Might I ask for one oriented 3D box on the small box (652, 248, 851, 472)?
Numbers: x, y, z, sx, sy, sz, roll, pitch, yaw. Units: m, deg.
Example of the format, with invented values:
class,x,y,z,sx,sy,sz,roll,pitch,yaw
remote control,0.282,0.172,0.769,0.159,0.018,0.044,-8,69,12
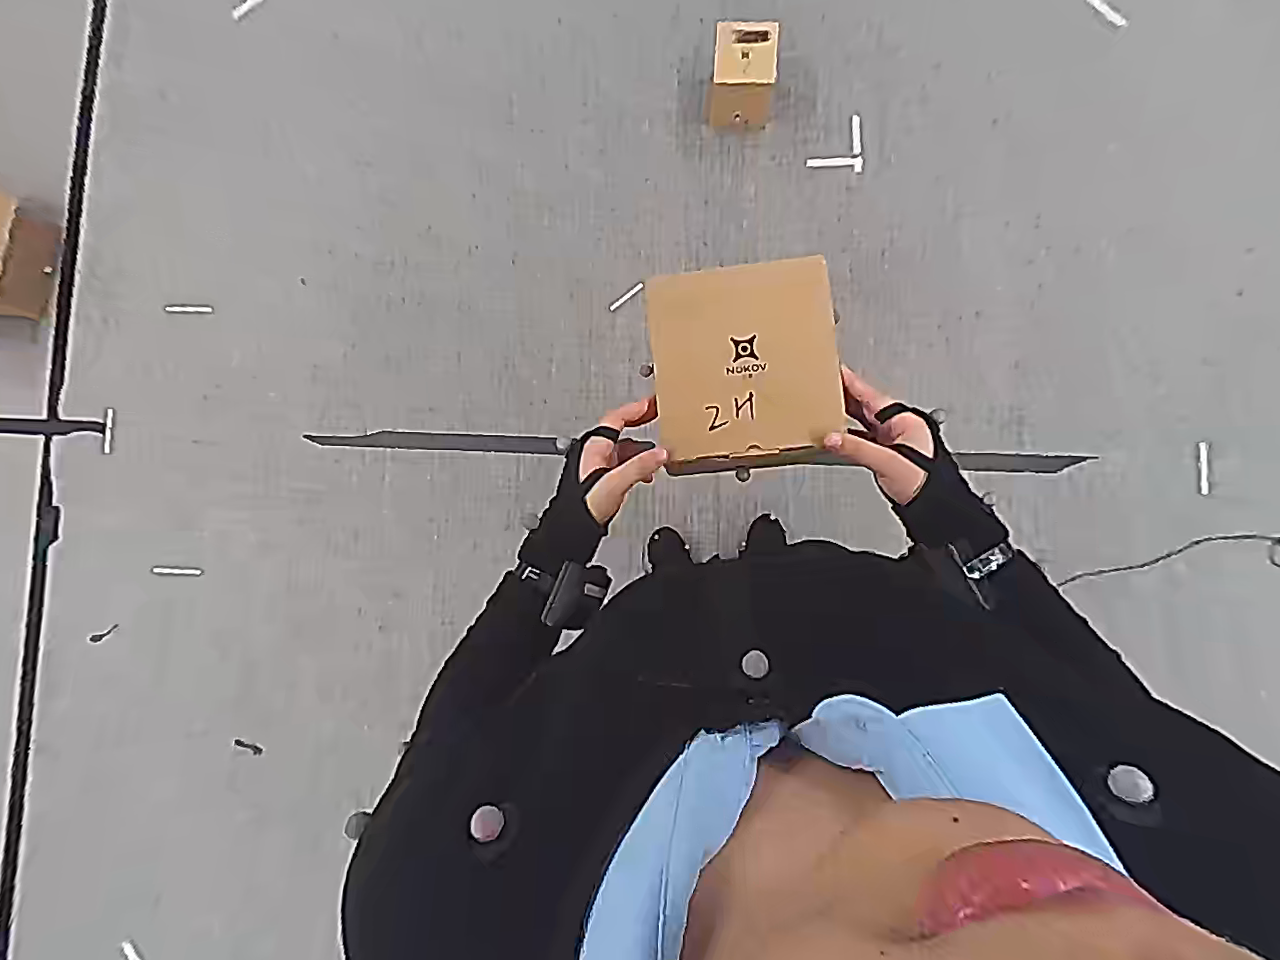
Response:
class,x,y,z,sx,sy,sz,roll,pitch,yaw
small box,0.103,-0.108,0.558,0.168,0.176,0.179,-5,86,6
